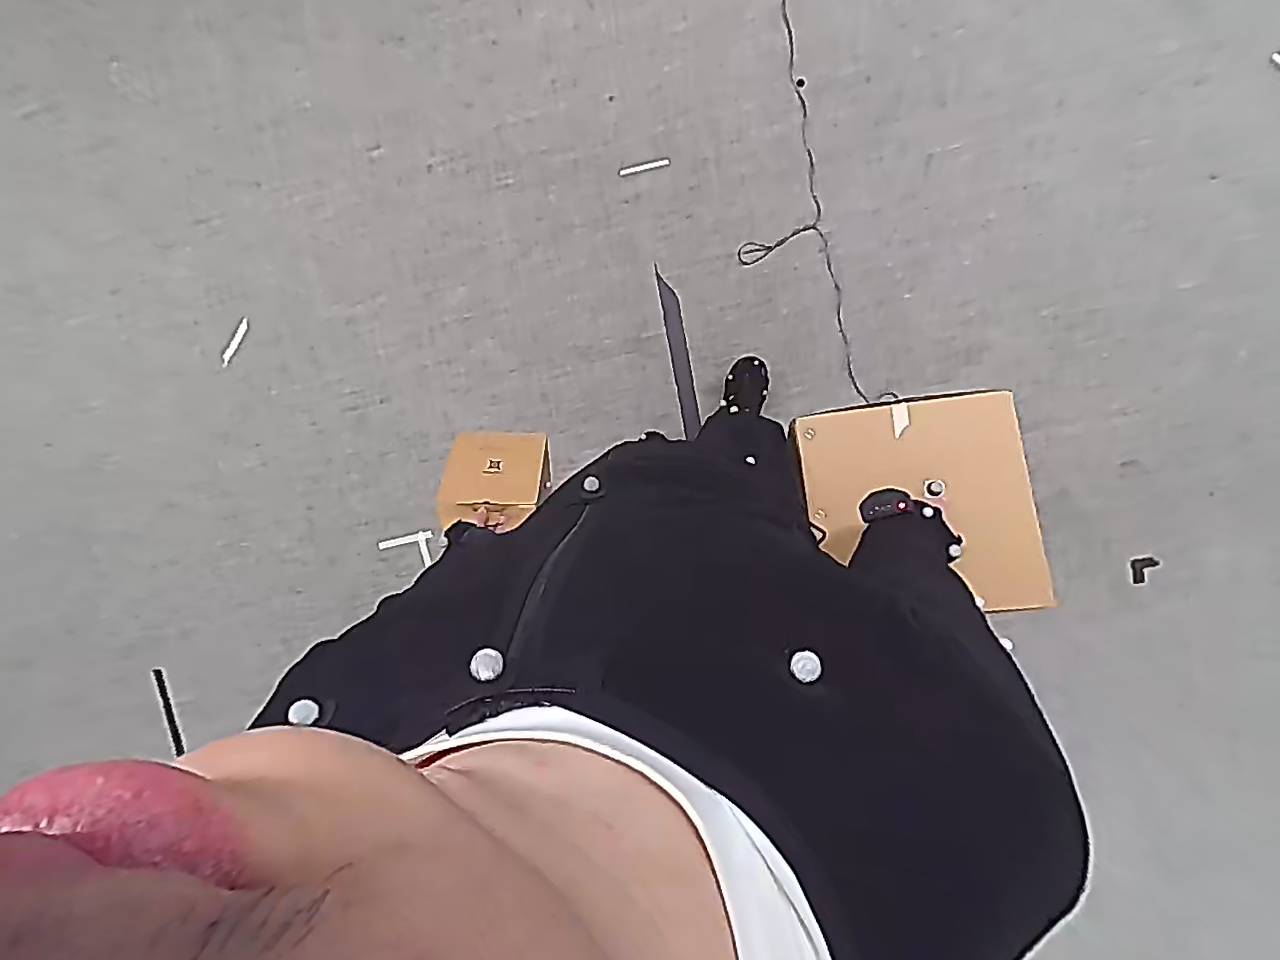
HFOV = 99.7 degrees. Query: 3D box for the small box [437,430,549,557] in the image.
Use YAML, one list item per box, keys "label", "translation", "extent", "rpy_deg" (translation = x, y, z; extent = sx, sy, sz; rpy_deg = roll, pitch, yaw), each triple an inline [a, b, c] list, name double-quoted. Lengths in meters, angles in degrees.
- label: "small box"
  translation: [-0.260, 0.029, 1.004]
  extent: [0.168, 0.179, 0.176]
  rpy_deg: [2, 138, -4]
